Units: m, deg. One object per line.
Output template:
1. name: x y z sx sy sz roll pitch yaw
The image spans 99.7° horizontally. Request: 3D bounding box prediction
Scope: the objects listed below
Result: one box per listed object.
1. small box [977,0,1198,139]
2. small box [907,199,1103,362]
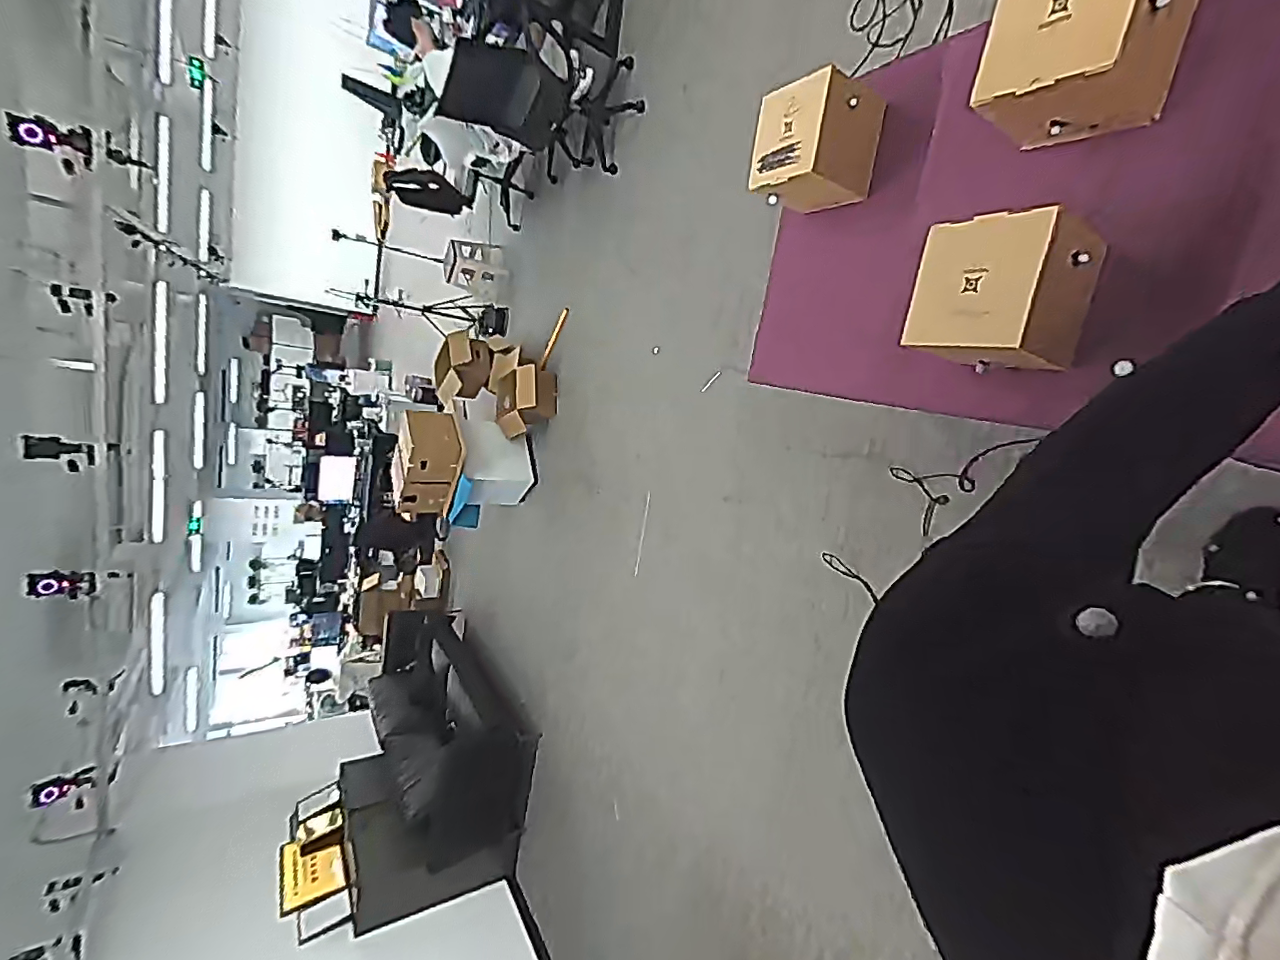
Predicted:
1. small box: 0.597 -0.593 0.720 0.168 0.176 0.179 28 113 54
2. small box: 0.534 -0.281 0.793 0.168 0.176 0.179 26 108 55
